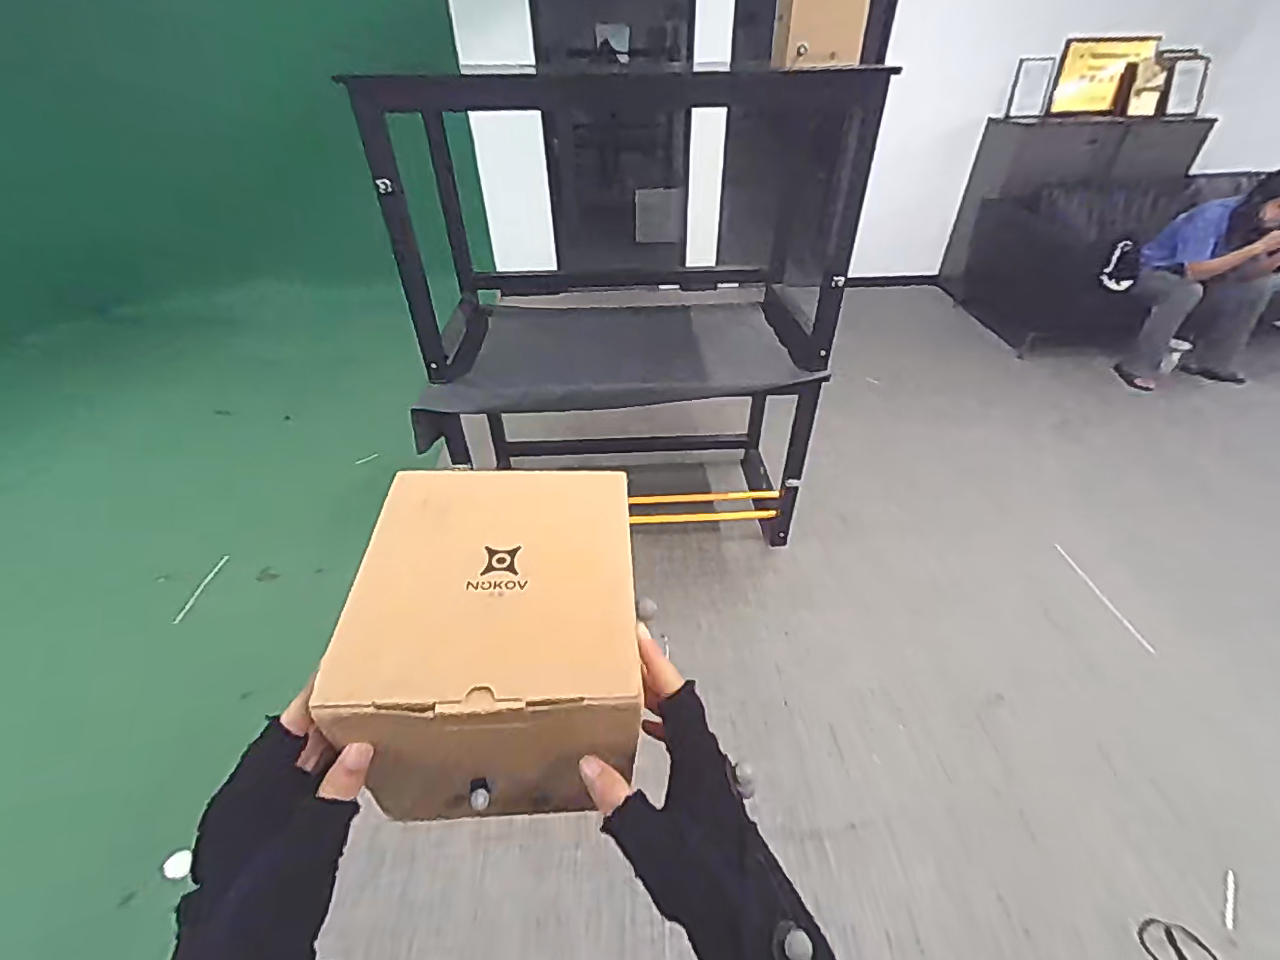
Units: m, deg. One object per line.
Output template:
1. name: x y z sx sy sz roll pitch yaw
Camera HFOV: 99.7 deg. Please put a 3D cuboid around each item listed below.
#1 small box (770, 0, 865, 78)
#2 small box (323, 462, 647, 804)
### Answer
1. small box: 0.403 -1.032 1.239 0.168 0.176 0.179 -1 37 1
2. small box: -0.088 0.105 0.388 0.168 0.176 0.179 0 42 -5
